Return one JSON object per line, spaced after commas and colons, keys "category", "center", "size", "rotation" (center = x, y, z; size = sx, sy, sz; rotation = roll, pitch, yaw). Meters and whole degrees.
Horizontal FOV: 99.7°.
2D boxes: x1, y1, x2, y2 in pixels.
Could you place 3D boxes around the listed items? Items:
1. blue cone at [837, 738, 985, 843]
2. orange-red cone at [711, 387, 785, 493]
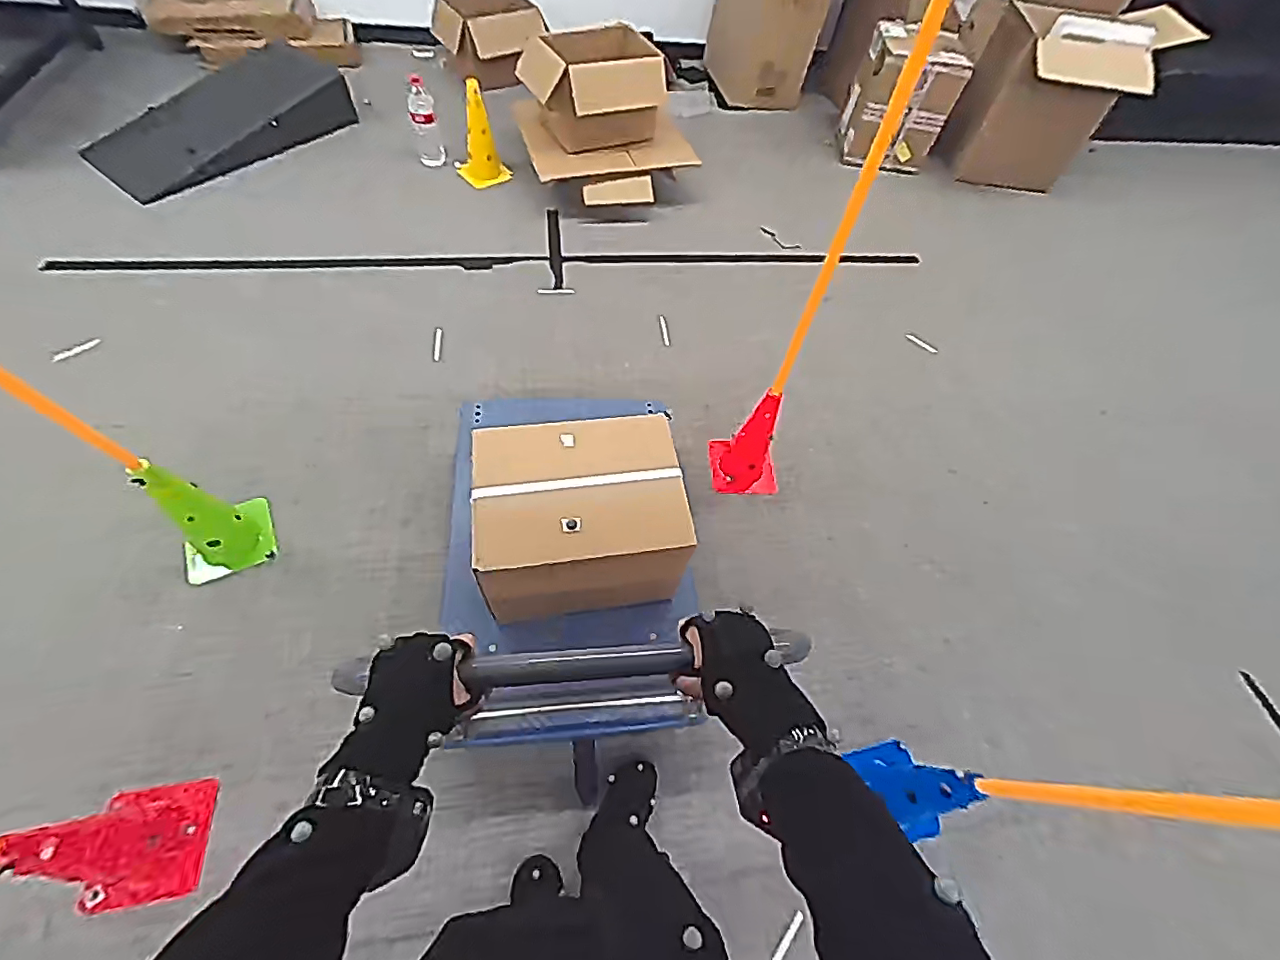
{"category": "blue cone", "center": [0.586, 0.629, 1.117], "size": [0.193, 0.380, 0.192], "rotation": [-7, 58, -11]}
{"category": "orange-red cone", "center": [0.343, -0.136, 1.548], "size": [0.199, 0.360, 0.198], "rotation": [2, 59, -6]}
